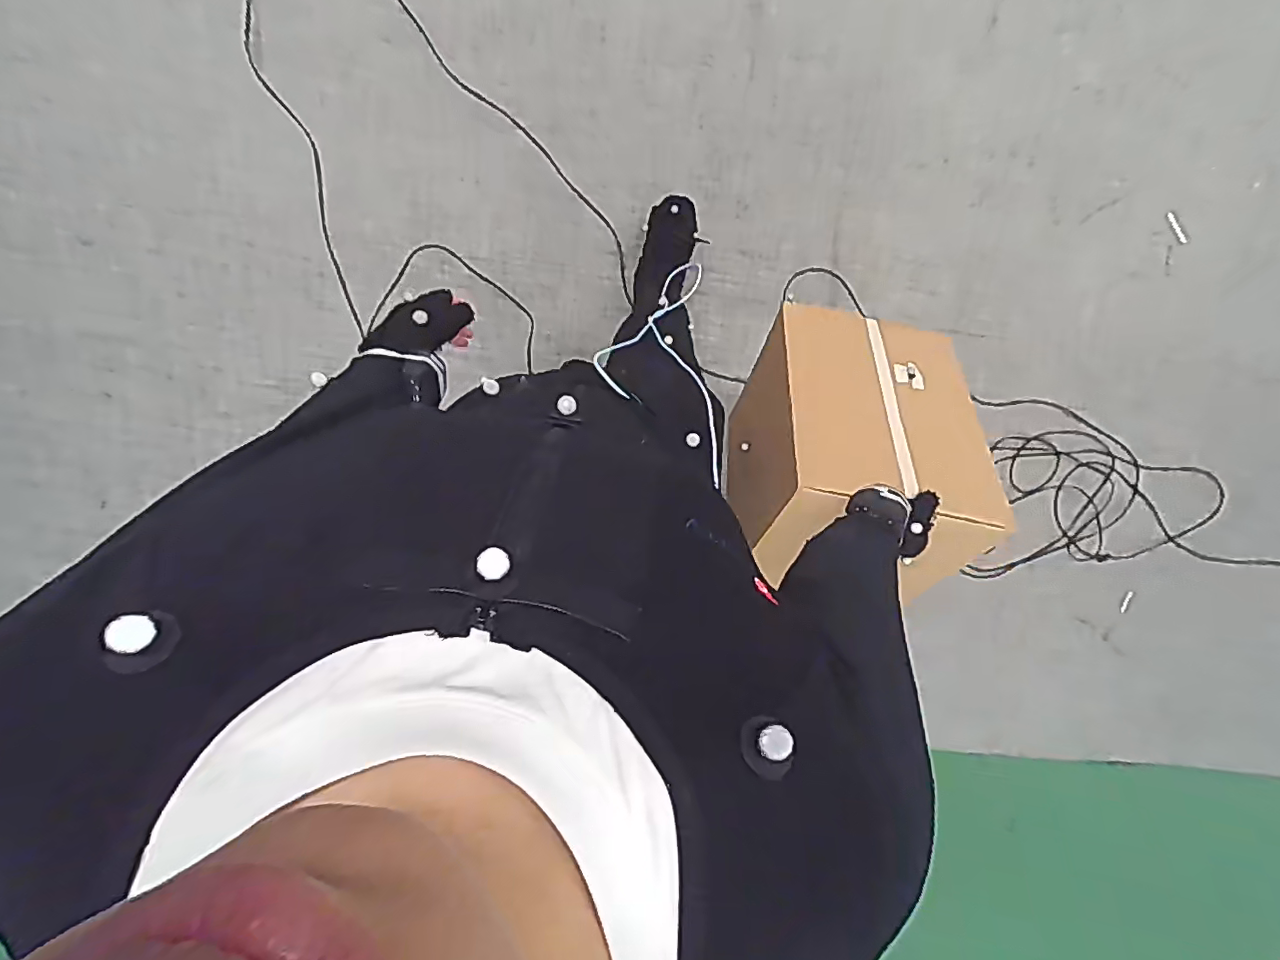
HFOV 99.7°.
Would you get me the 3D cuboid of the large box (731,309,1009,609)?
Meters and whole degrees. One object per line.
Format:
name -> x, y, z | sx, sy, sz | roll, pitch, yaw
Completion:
large box -> 0.353, -0.030, 0.964 | 0.320, 0.408, 0.320 | 12, 143, -6
